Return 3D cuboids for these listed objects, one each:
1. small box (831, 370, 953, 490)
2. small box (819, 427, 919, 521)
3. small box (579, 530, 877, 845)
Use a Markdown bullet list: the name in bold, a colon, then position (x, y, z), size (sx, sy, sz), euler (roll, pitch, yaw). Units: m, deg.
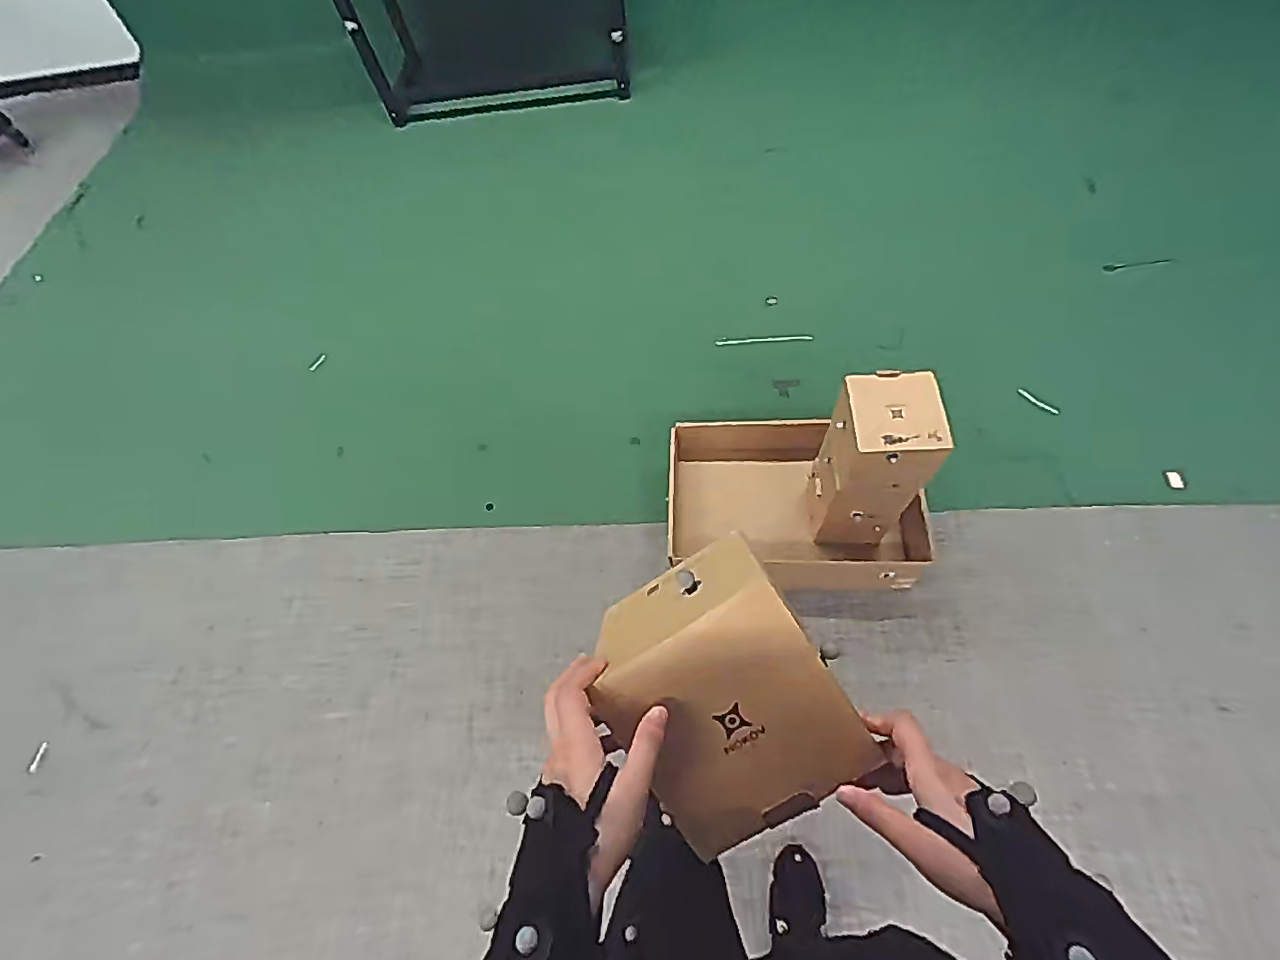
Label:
- **small box**: position (0.487, -0.095, 1.074), size (0.168, 0.176, 0.179), euler (-2, 62, 7)
- **small box**: position (0.506, -0.021, 1.220), size (0.168, 0.176, 0.179), euler (1, 64, 9)
- **small box**: position (0.067, 0.161, 0.485), size (0.168, 0.176, 0.179), euler (-34, 96, 6)
